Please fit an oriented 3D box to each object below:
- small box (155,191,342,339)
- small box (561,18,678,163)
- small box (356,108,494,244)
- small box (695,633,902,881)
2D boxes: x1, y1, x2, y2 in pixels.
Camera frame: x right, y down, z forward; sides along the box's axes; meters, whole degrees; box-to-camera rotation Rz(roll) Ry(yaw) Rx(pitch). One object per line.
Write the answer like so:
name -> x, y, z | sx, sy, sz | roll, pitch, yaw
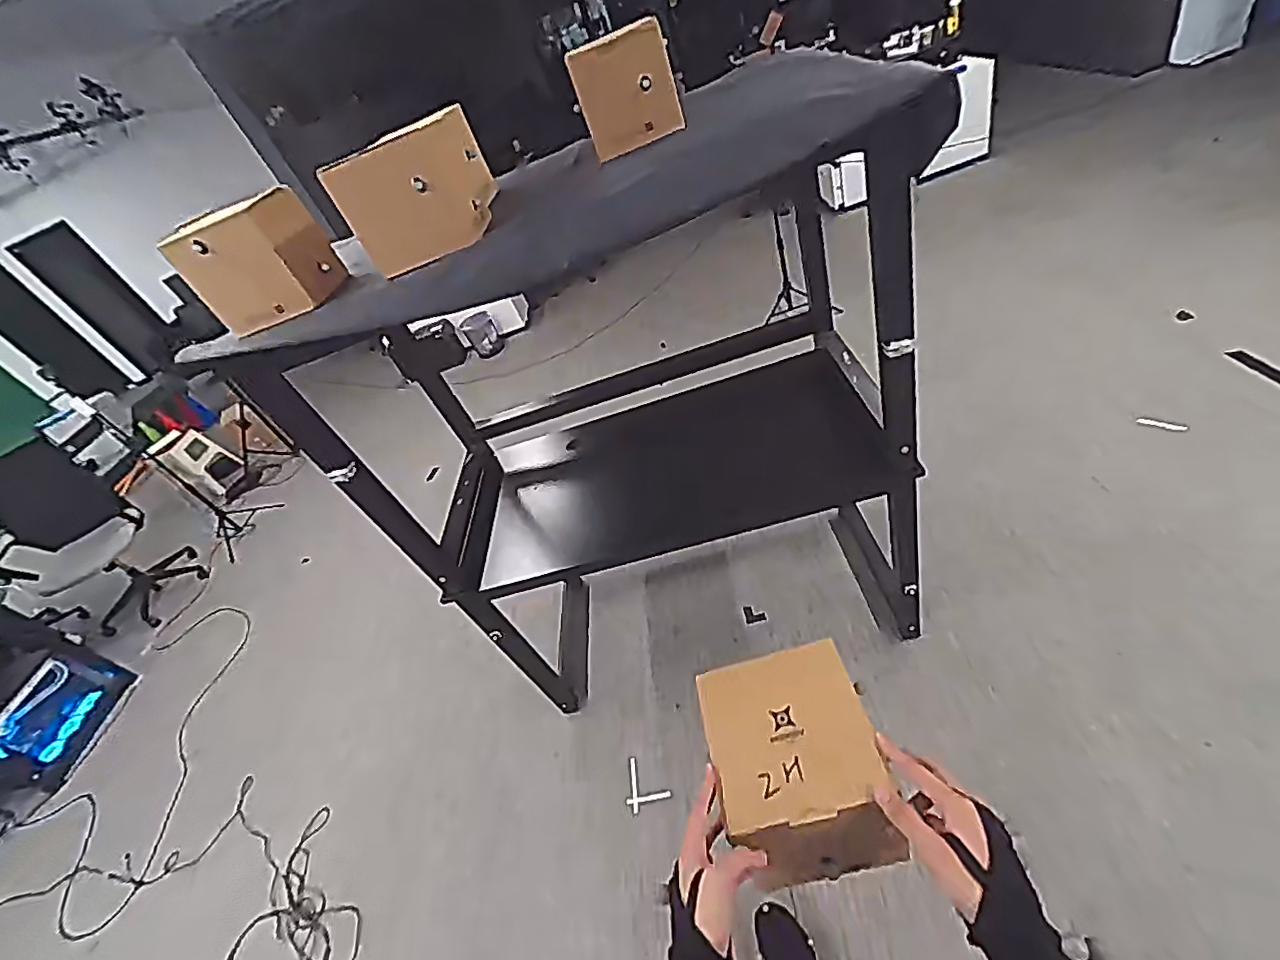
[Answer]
small box -> -0.663, -0.373, 0.945 | 0.168, 0.176, 0.179 | -18, 39, 8
small box -> -0.035, -0.715, 1.001 | 0.168, 0.176, 0.179 | -17, 40, 9
small box -> -0.413, -0.601, 1.075 | 0.179, 0.176, 0.168 | -16, 40, 11
small box -> 0.173, 0.310, 0.609 | 0.168, 0.176, 0.179 | -19, 36, 8
